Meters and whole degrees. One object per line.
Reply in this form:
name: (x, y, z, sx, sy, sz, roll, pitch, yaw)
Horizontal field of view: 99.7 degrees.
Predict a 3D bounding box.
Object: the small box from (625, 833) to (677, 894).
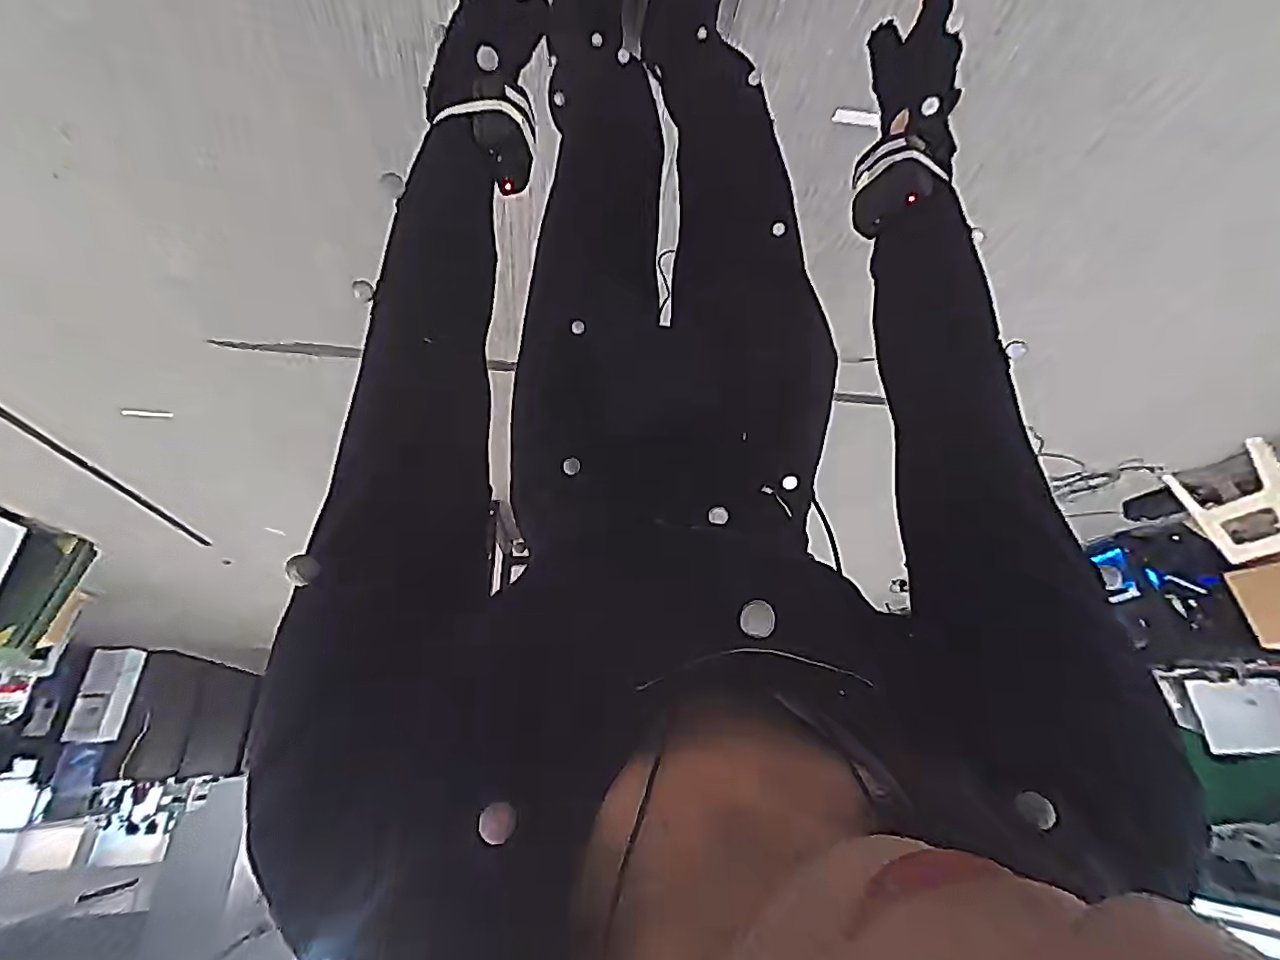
small box: (0.038, 1.481, 2.097, 0.179, 0.176, 0.168, 2, 153, -9)
